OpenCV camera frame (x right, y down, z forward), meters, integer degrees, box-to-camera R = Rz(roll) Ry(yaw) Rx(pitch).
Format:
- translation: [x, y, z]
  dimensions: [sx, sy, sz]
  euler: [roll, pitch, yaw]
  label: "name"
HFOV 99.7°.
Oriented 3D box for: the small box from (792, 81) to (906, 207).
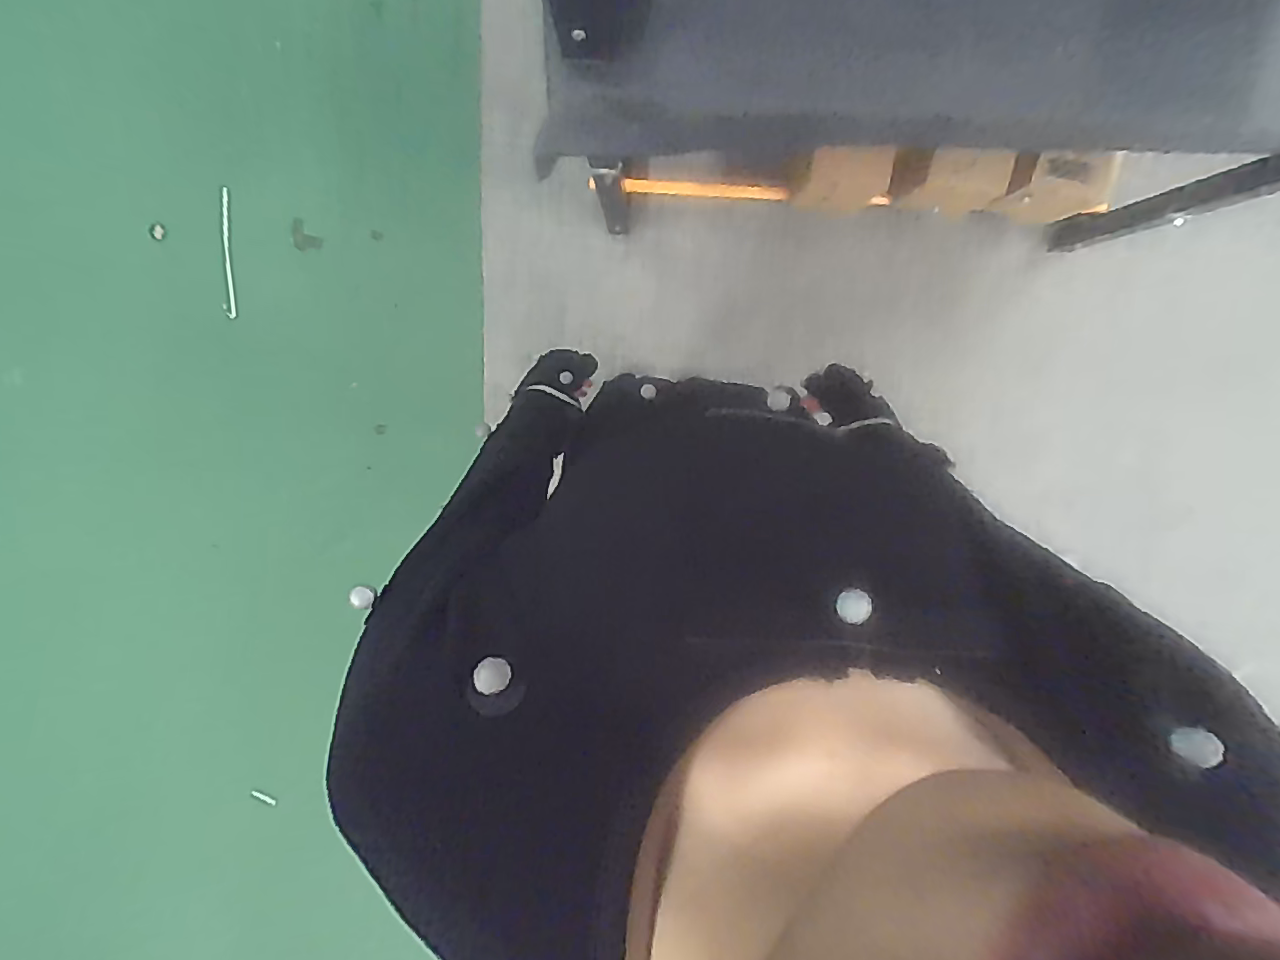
- translation: [0.434, -0.704, 1.150]
  dimensions: [0.168, 0.176, 0.179]
  euler: [5, 103, -1]
  label: "small box"
